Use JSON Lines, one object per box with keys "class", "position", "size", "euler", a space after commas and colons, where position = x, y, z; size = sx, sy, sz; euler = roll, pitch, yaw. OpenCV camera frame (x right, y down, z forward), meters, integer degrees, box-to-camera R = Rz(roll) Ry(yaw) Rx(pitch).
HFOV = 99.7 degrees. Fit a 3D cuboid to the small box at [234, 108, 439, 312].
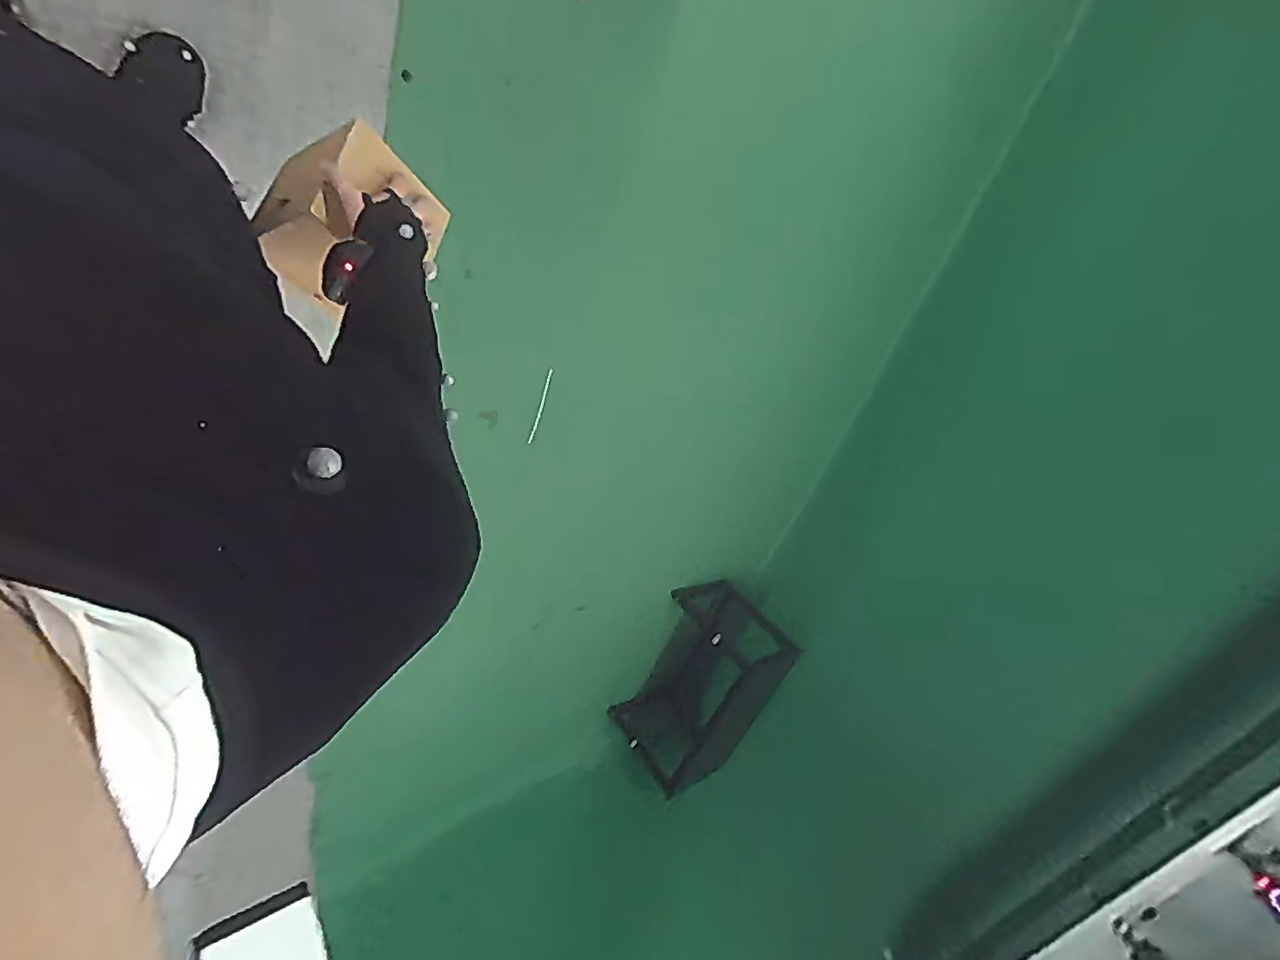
{"class": "small box", "position": [-0.426, -0.365, 0.764], "size": [0.168, 0.176, 0.179], "euler": [41, 52, -53]}
